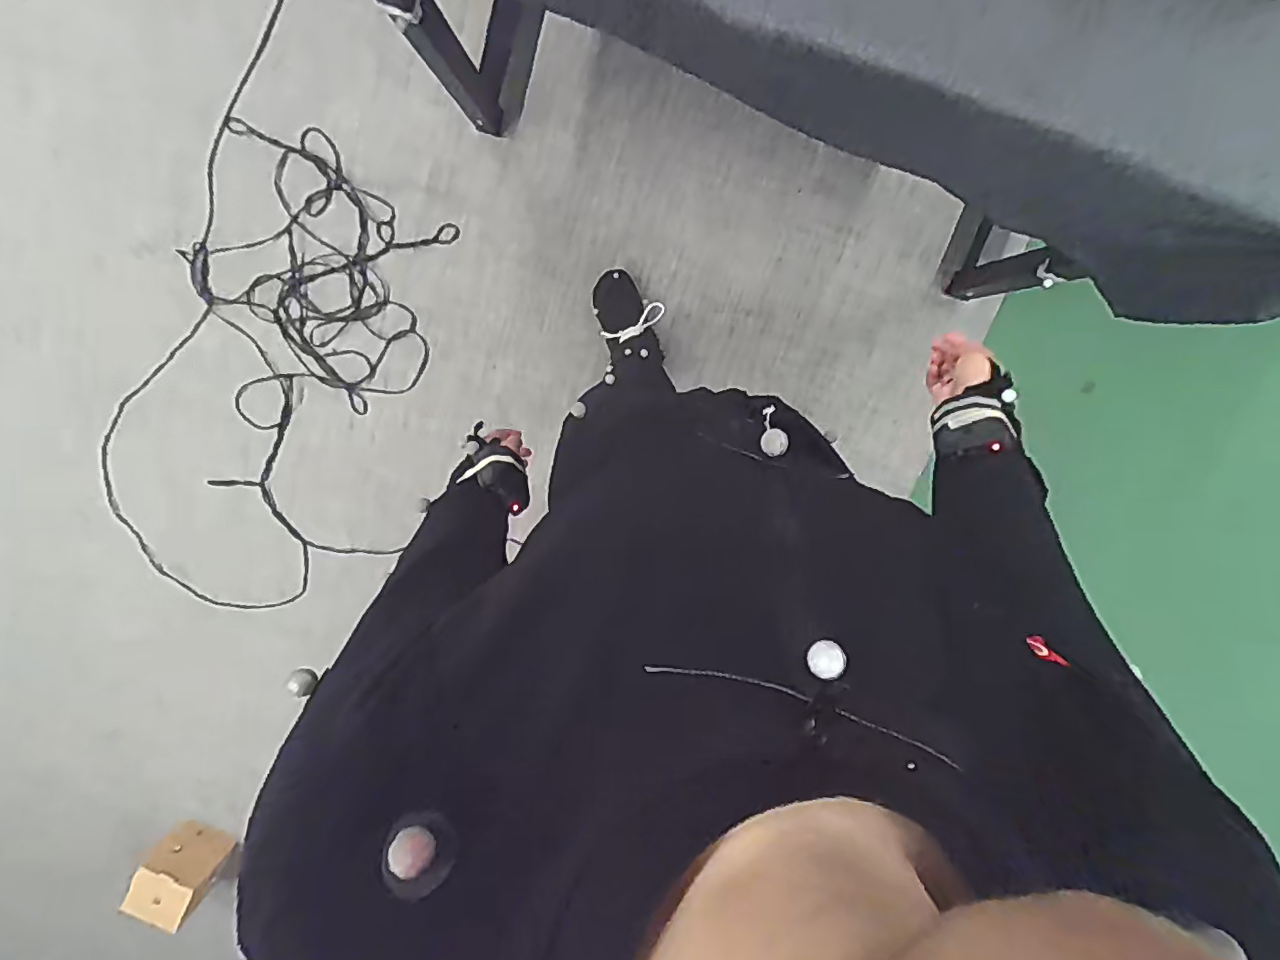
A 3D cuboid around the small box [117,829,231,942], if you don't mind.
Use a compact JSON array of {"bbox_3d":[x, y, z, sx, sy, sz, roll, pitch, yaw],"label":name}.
[{"bbox_3d":[-1.338,1.165,1.566,0.168,0.176,0.179,28,102,-3],"label":"small box"}]
